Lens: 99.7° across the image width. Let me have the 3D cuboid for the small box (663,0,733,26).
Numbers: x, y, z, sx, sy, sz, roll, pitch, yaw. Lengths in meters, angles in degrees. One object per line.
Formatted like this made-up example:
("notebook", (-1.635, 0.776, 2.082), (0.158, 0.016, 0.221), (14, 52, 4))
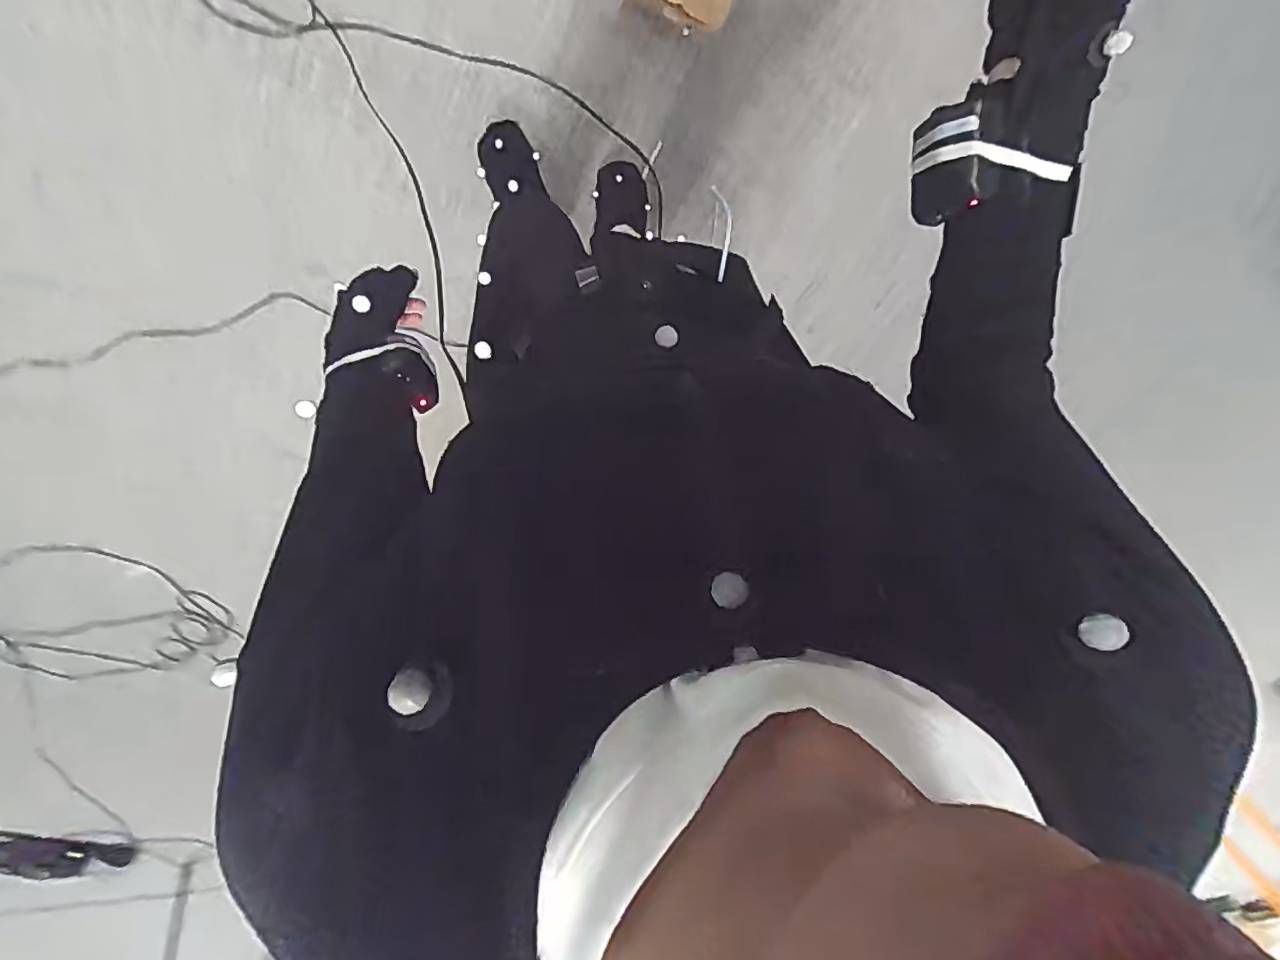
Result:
("small box", (0.099, -0.921, 0.924), (0.168, 0.176, 0.179), (17, 122, -20))
